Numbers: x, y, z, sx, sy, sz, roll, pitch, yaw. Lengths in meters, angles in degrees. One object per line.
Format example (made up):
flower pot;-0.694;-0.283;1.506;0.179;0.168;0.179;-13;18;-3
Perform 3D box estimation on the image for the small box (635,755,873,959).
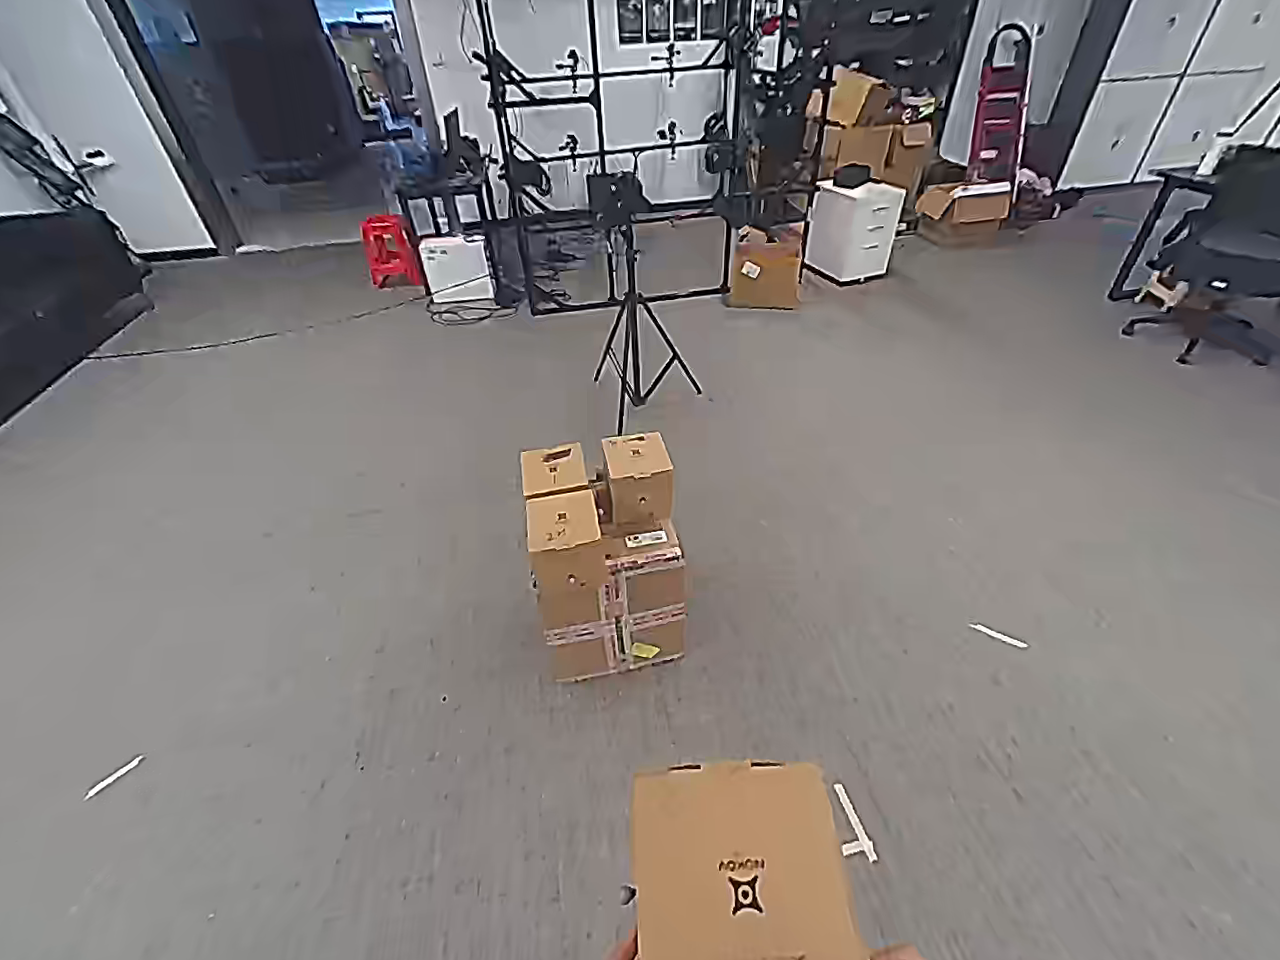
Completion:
small box;0.081;0.362;0.473;0.168;0.176;0.179;-1;47;-2
